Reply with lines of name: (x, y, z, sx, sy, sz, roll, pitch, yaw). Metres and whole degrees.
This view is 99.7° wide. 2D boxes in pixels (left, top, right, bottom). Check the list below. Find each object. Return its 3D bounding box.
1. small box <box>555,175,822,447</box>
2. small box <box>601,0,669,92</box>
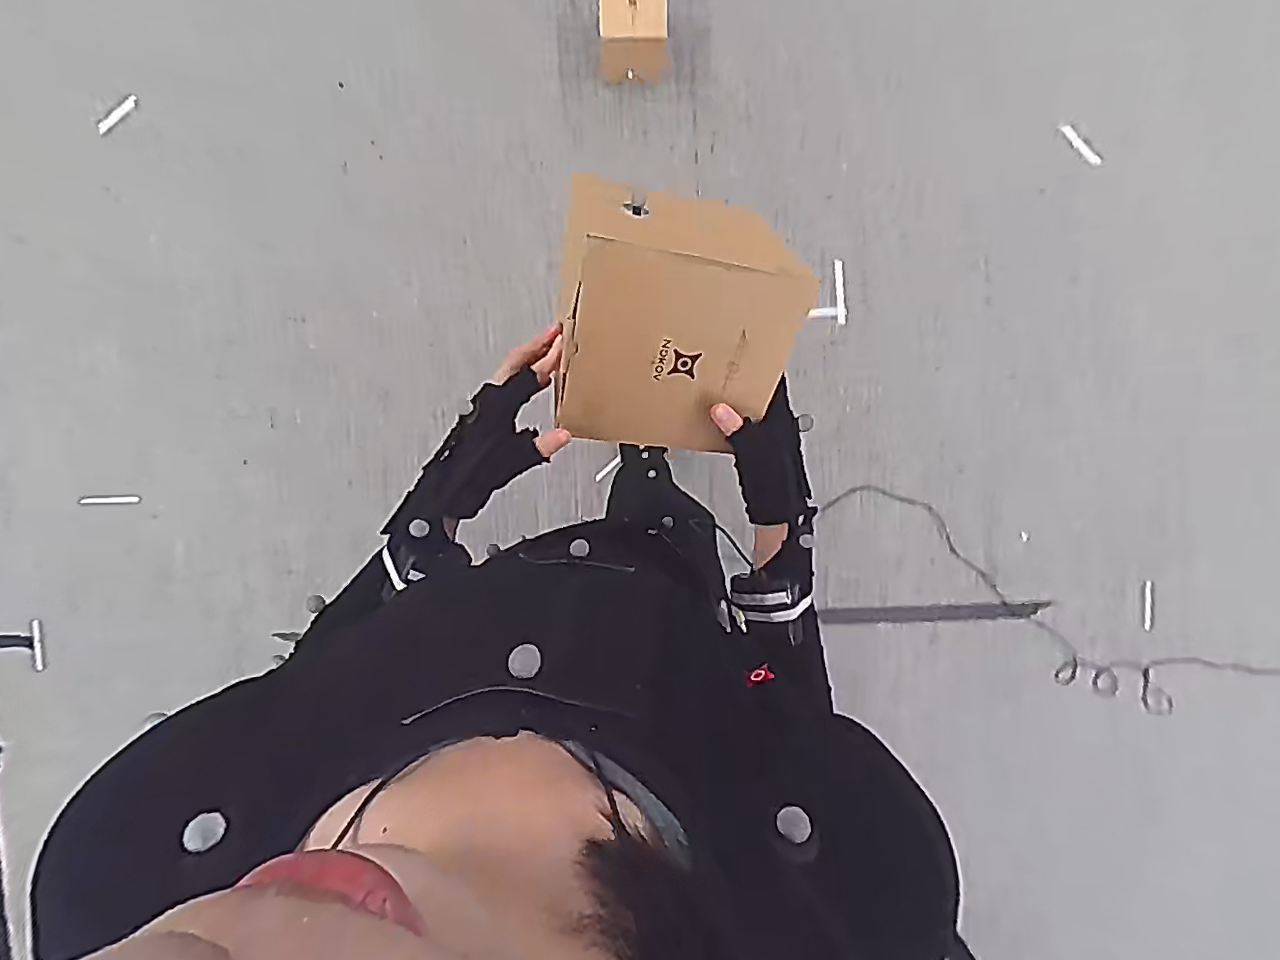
small box: (0.020, -0.150, 0.478, 0.179, 0.176, 0.168, 4, 132, -15)
small box: (-0.016, -1.143, 1.385, 0.168, 0.176, 0.179, 0, 93, -2)
